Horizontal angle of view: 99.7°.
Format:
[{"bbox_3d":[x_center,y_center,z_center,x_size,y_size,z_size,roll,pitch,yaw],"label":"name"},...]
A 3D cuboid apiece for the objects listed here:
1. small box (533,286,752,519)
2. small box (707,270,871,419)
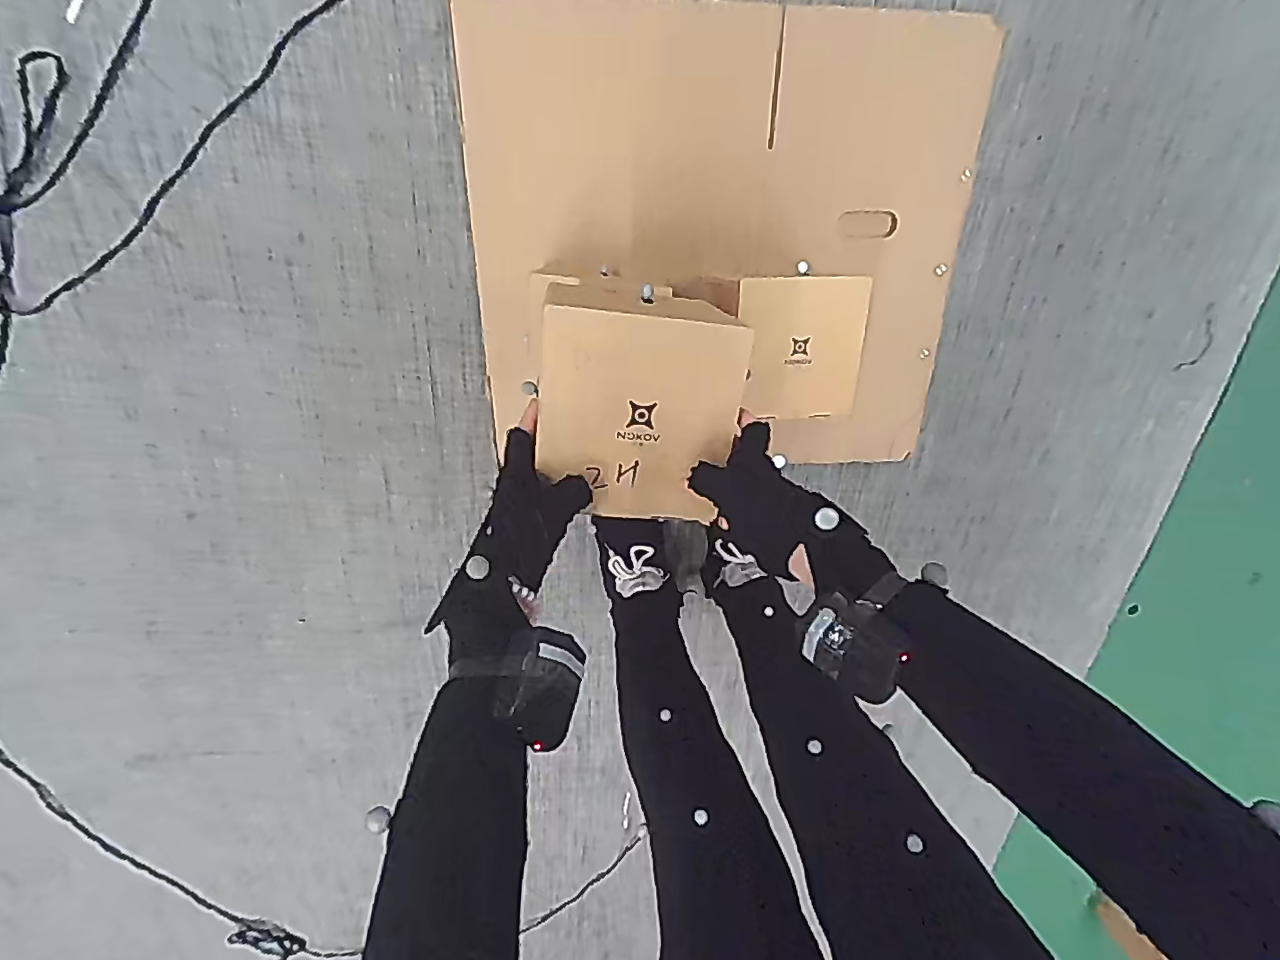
[{"bbox_3d":[-0.012,-0.082,0.516,0.168,0.176,0.179,4,115,-9],"label":"small box"},{"bbox_3d":[0.188,-0.194,0.741,0.168,0.176,0.179,-4,114,-5],"label":"small box"}]
